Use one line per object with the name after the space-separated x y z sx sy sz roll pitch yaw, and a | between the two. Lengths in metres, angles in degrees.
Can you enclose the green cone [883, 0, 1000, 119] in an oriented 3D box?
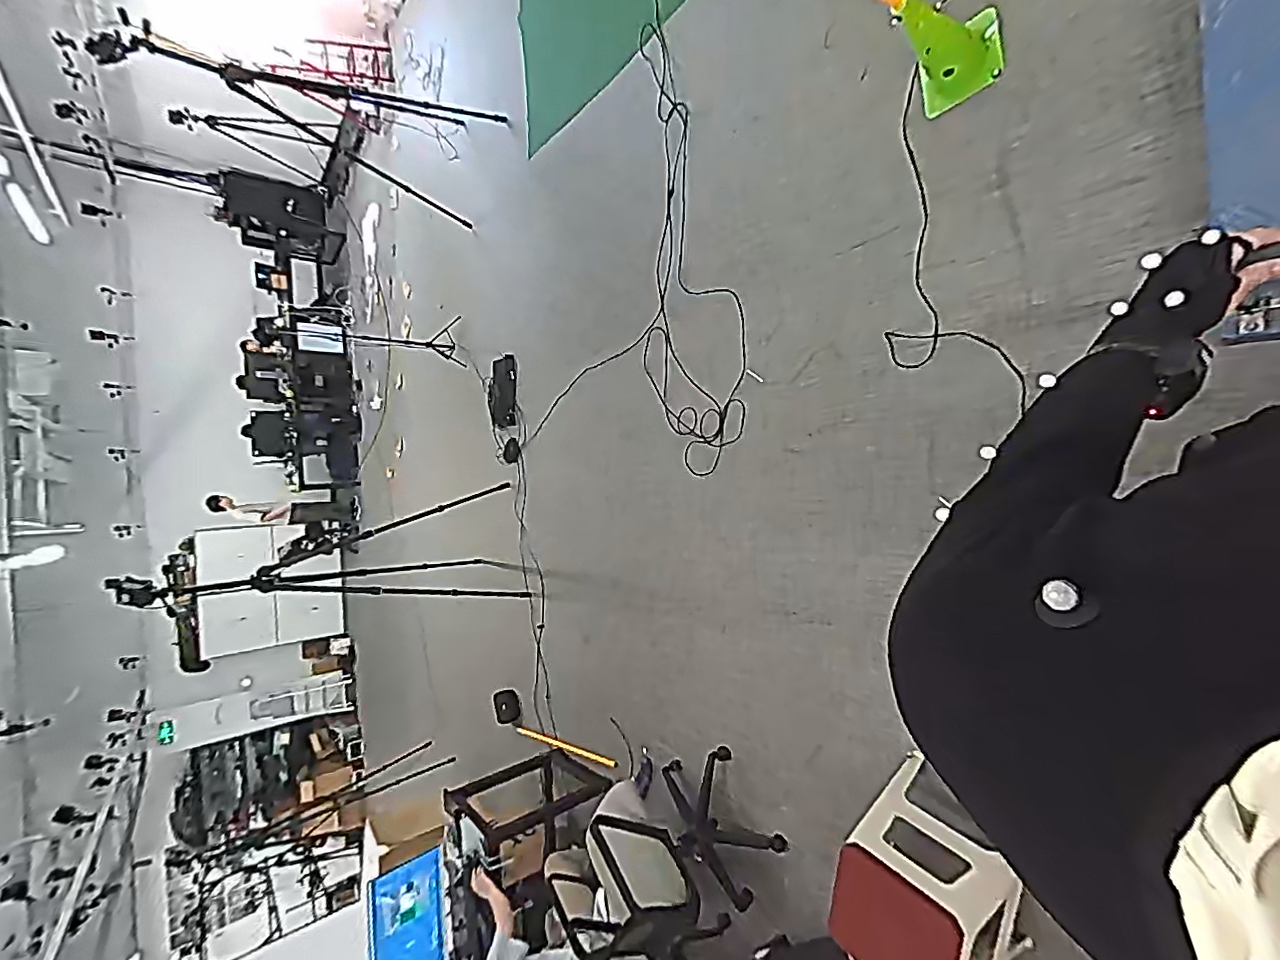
0.746 -1.144 1.401 0.202 0.368 0.200 -10 84 52 | green cone
